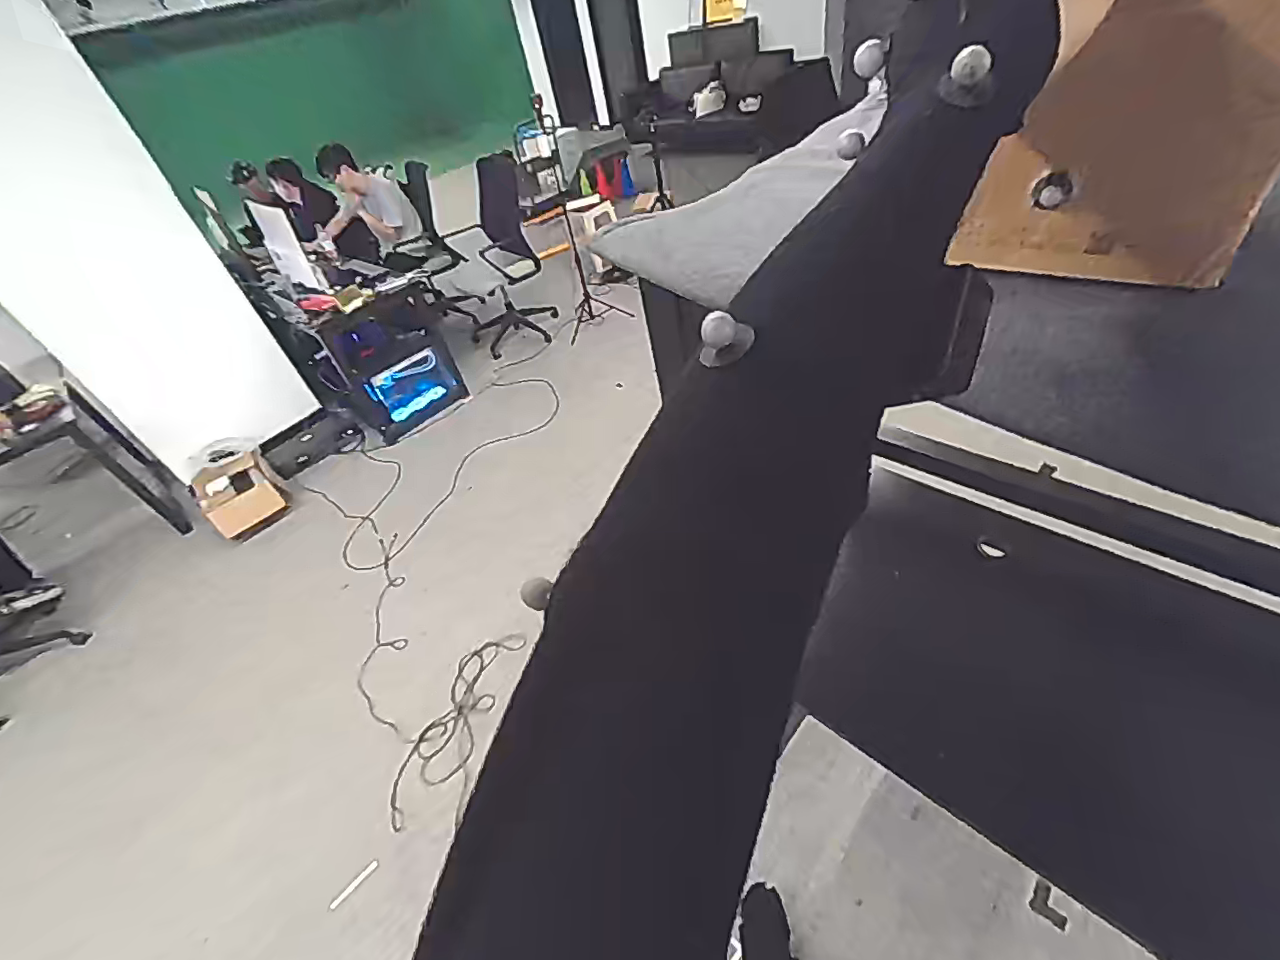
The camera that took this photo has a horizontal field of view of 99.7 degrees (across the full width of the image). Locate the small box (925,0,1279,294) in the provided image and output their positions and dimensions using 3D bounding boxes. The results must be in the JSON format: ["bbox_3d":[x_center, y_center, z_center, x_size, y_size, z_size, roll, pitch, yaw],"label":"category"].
[{"bbox_3d":[0.306,-0.245,0.349,0.168,0.176,0.179,21,53,30],"label":"small box"}]
